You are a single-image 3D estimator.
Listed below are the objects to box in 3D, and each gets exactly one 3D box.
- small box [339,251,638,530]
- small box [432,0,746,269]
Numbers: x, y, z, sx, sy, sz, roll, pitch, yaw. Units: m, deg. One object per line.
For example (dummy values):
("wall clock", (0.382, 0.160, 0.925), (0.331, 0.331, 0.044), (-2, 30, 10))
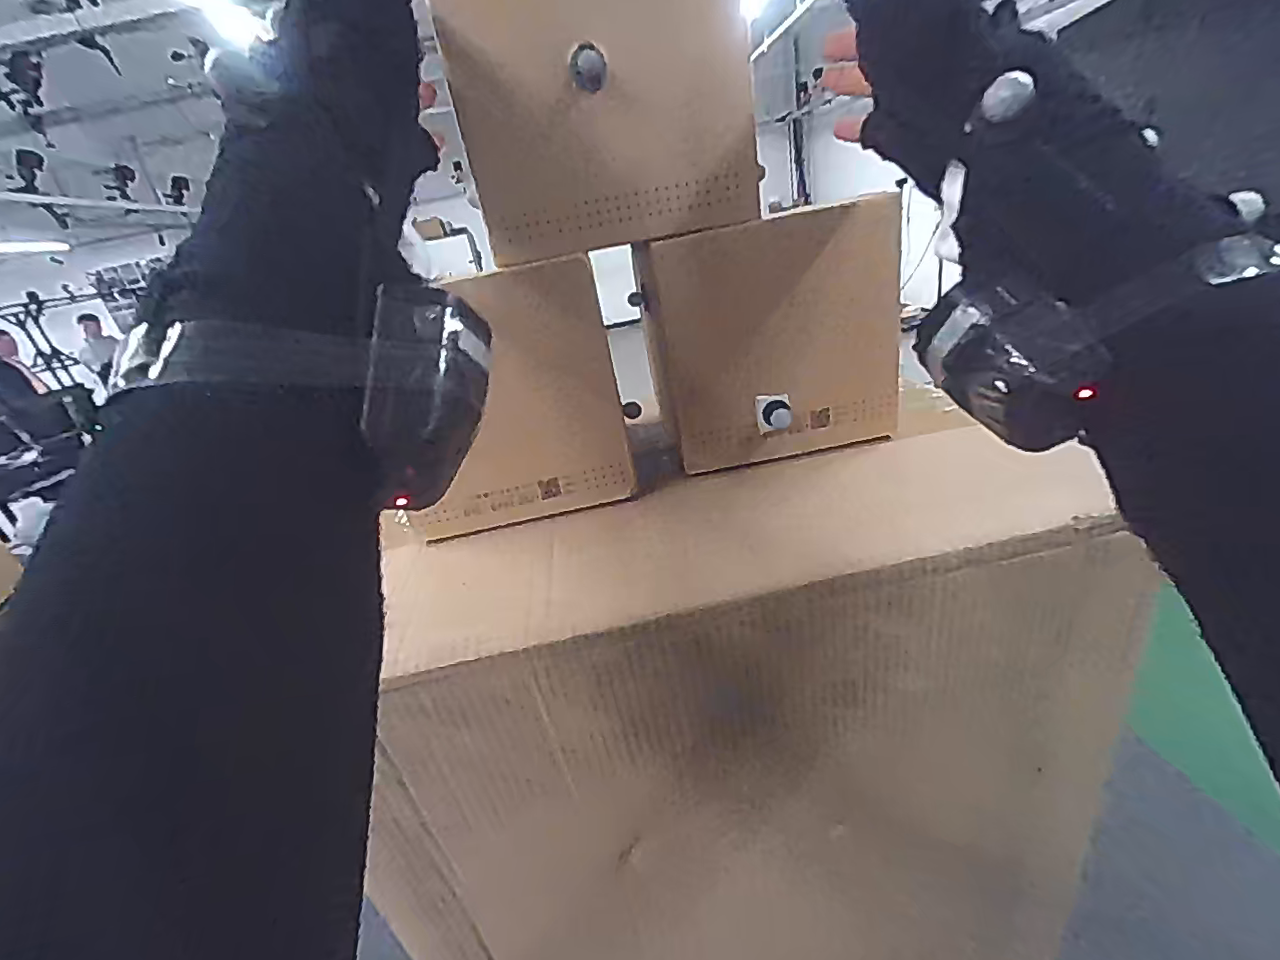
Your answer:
("small box", (-0.102, -0.080, 0.443), (0.168, 0.176, 0.179), (-13, 23, -1))
("small box", (-0.028, -0.254, 0.394), (0.179, 0.176, 0.168), (-12, 23, -3))
